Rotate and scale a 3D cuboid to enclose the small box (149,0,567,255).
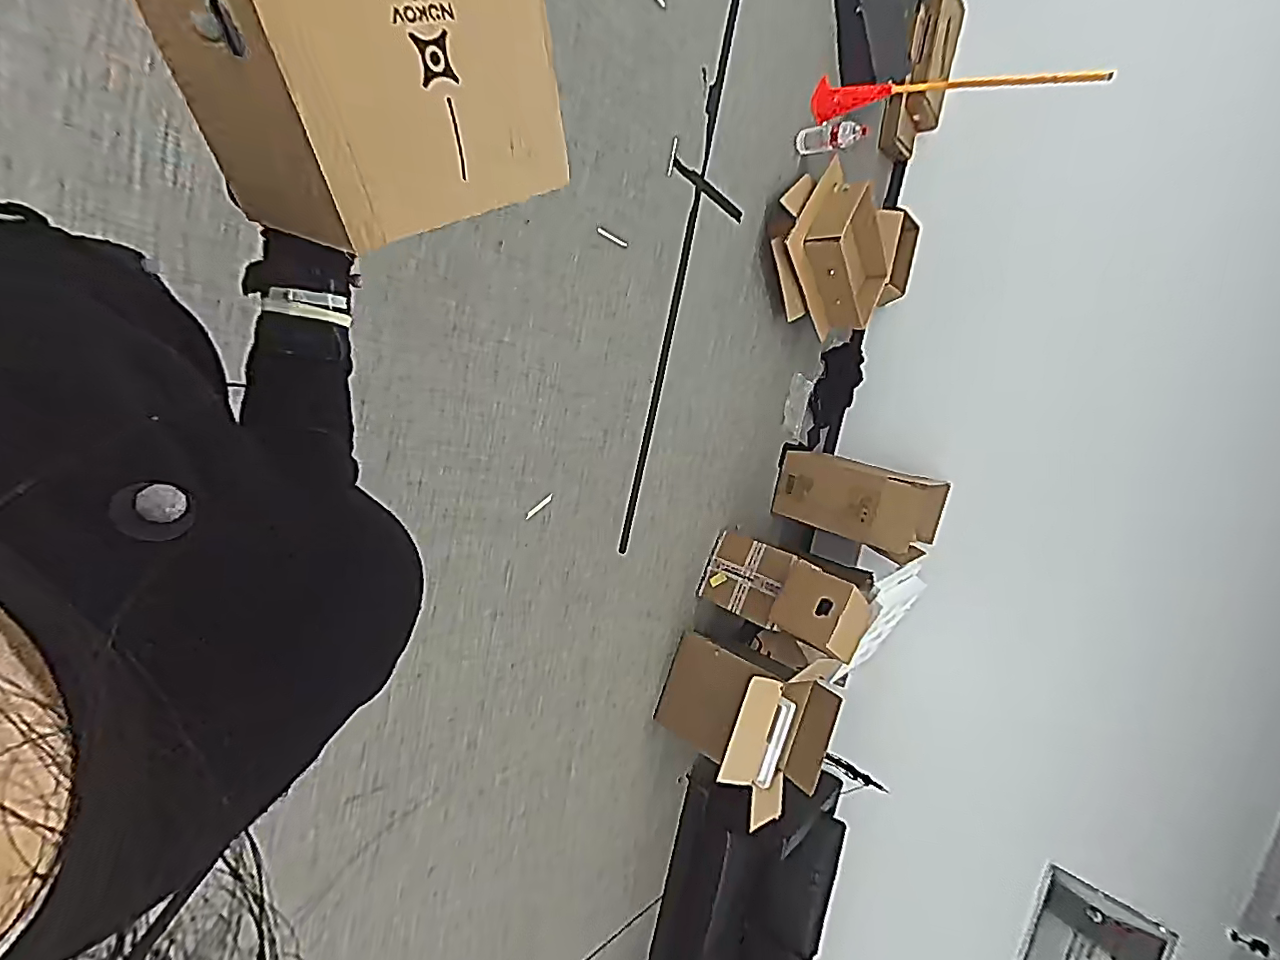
[{"bbox_3d":[-0.171,-0.262,0.338,0.168,0.176,0.179,-37,140,-34],"label":"small box"}]
